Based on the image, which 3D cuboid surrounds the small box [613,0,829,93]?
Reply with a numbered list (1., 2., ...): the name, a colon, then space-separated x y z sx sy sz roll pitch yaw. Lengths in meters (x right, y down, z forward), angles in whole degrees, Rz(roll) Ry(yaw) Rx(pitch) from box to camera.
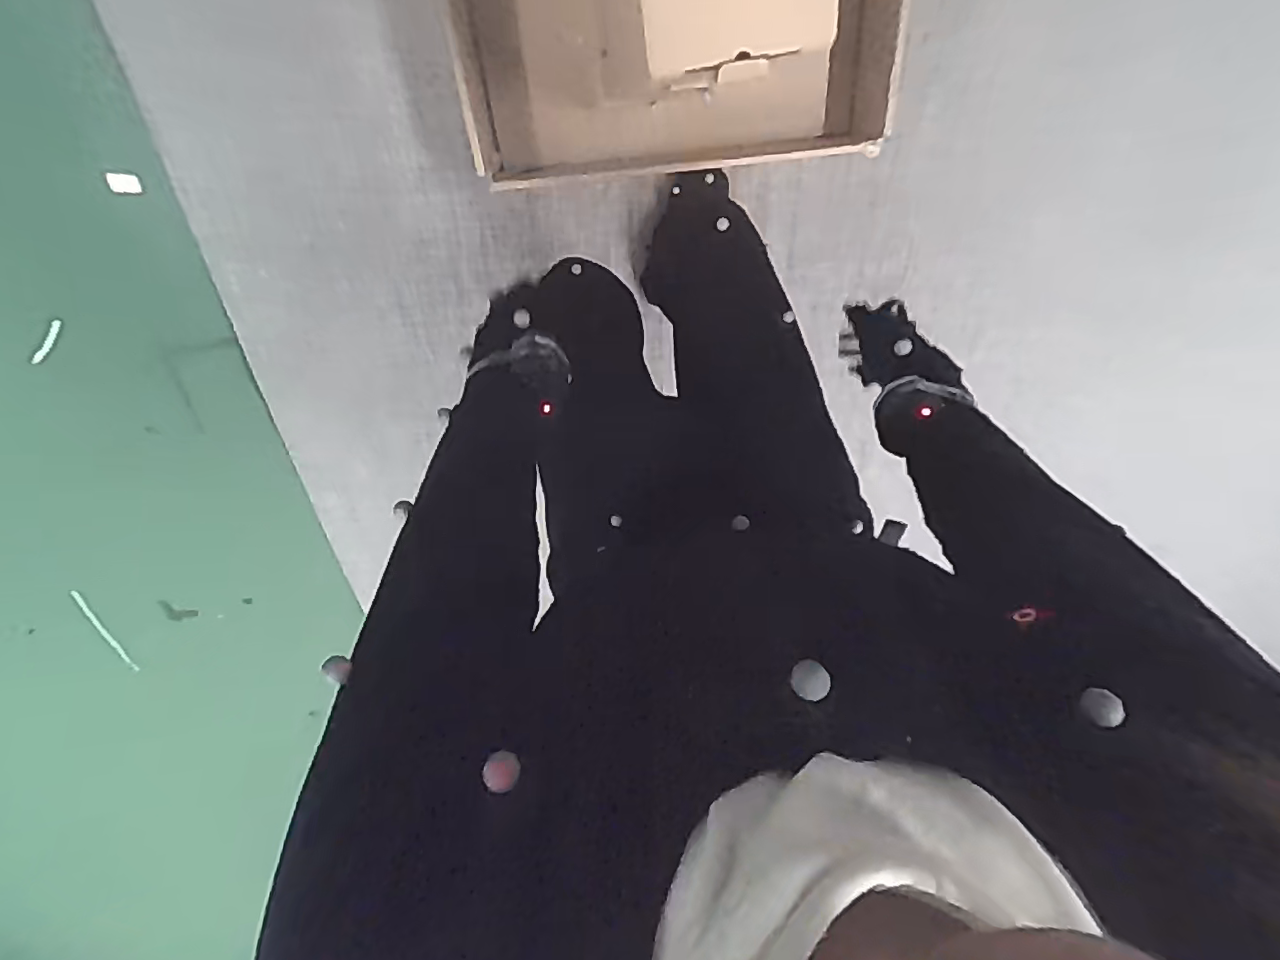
1. small box: 0.063 -0.466 0.490 0.168 0.176 0.179 -10 124 -2
